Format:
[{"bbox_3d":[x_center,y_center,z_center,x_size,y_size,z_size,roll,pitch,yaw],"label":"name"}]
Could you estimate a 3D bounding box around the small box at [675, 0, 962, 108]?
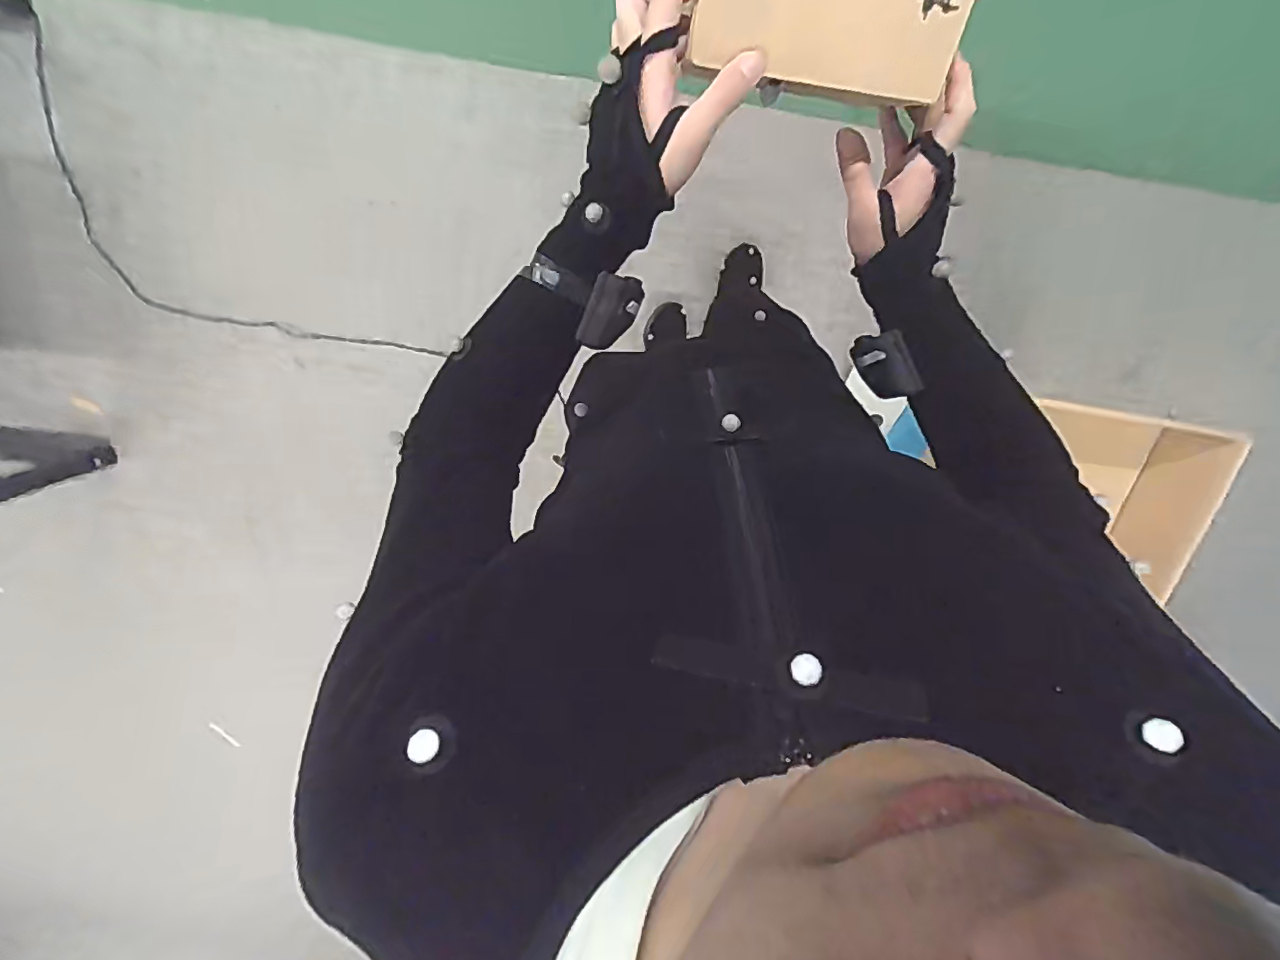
[{"bbox_3d":[0.122,-0.376,0.385,0.179,0.176,0.168,7,124,-3],"label":"small box"}]
